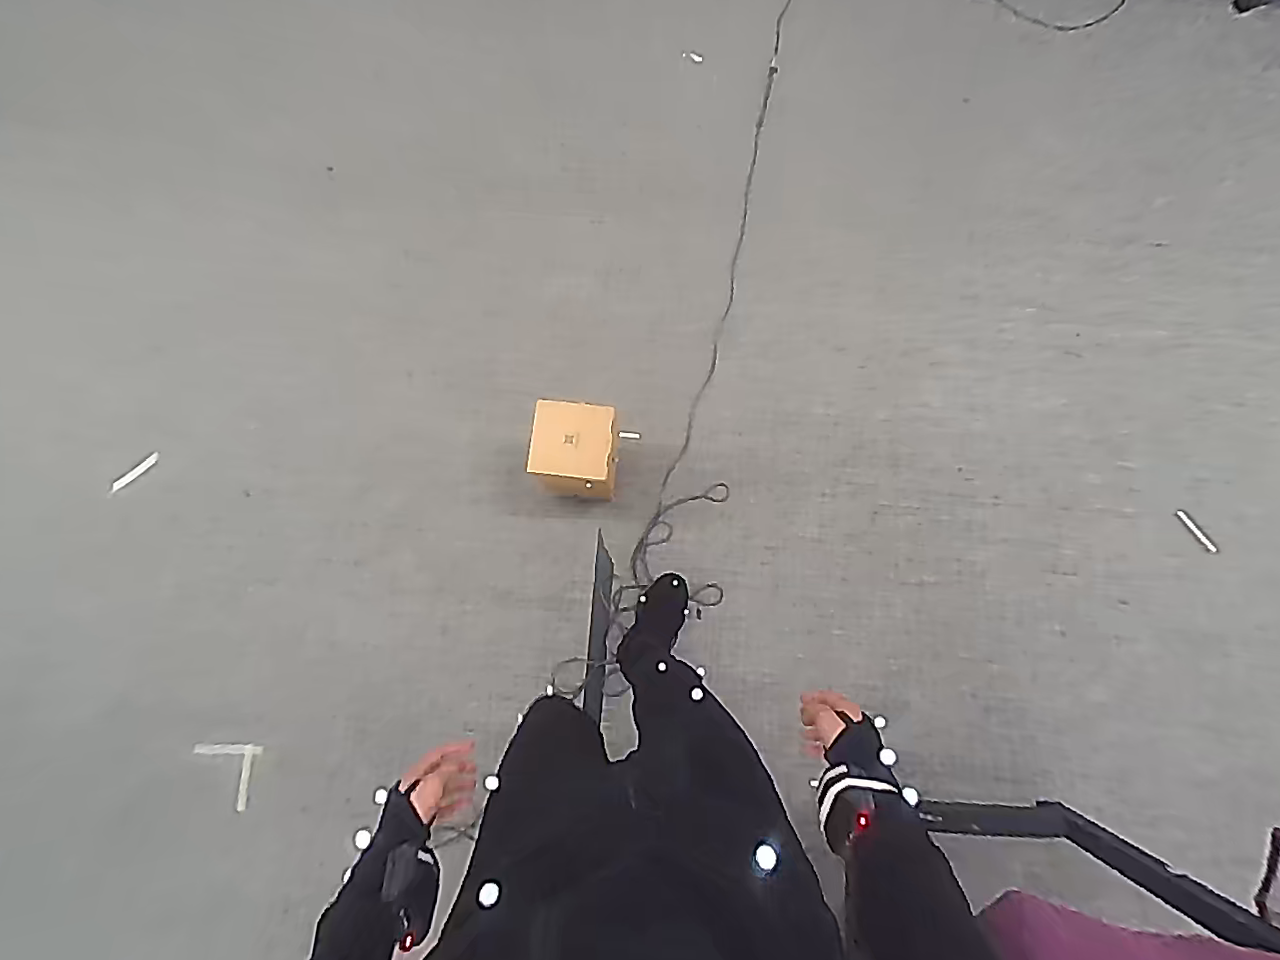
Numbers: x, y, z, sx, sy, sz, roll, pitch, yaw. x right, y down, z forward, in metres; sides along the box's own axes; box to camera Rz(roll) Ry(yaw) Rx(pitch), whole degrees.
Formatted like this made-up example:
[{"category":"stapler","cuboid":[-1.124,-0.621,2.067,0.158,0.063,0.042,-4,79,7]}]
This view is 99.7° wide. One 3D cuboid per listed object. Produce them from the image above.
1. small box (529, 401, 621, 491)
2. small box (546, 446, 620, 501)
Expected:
[{"category":"small box","cuboid":[-0.143,-0.072,1.250,0.179,0.176,0.168,6,81,1]},{"category":"small box","cuboid":[-0.143,-0.047,1.411,0.168,0.176,0.179,5,81,1]}]
